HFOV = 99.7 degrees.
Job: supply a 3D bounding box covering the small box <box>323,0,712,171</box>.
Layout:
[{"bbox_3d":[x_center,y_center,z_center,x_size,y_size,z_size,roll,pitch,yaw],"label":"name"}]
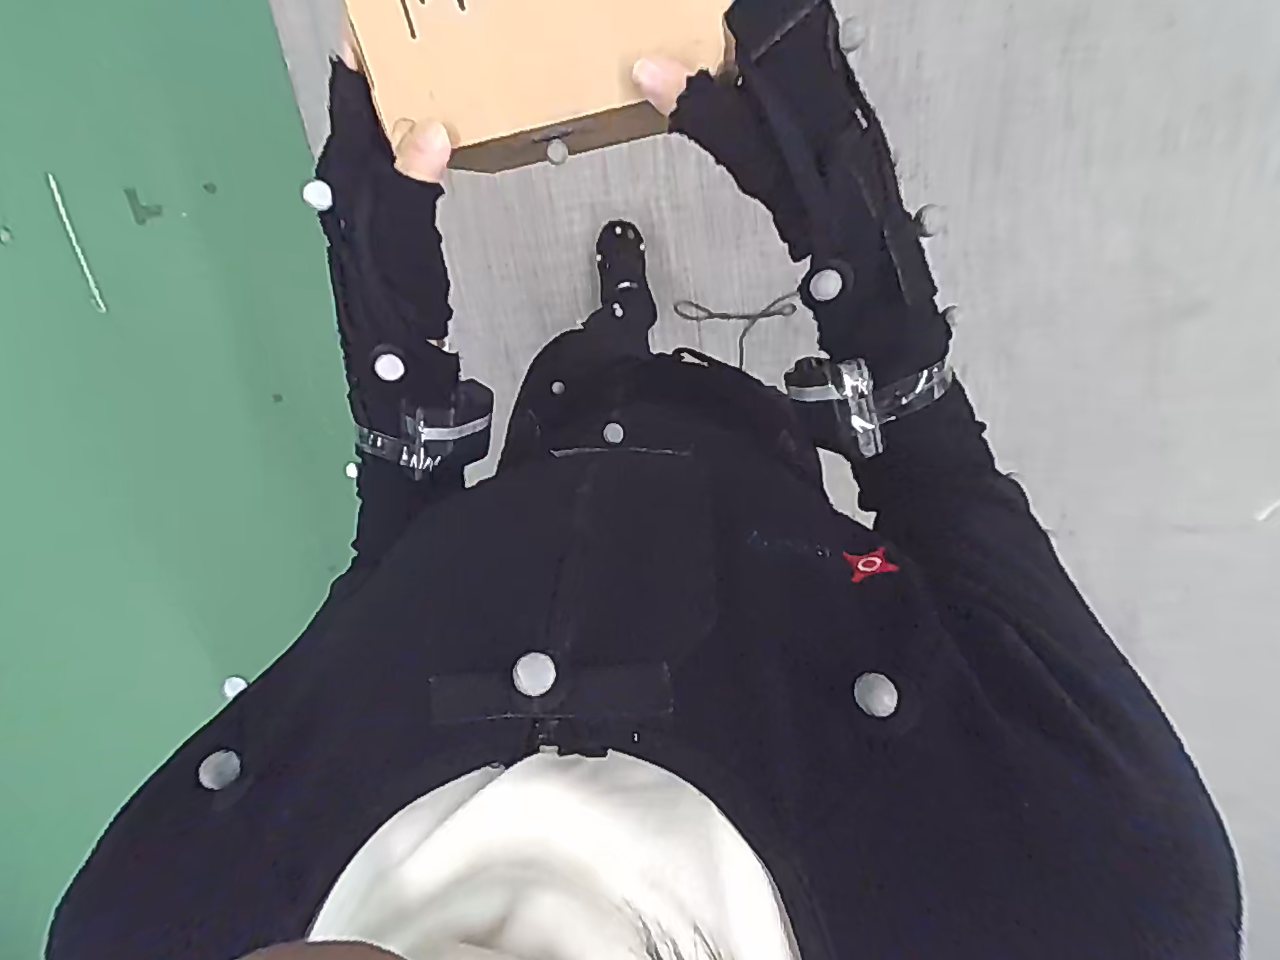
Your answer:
[{"bbox_3d":[-0.058,-0.281,0.299,0.179,0.176,0.168,-8,117,7],"label":"small box"}]
